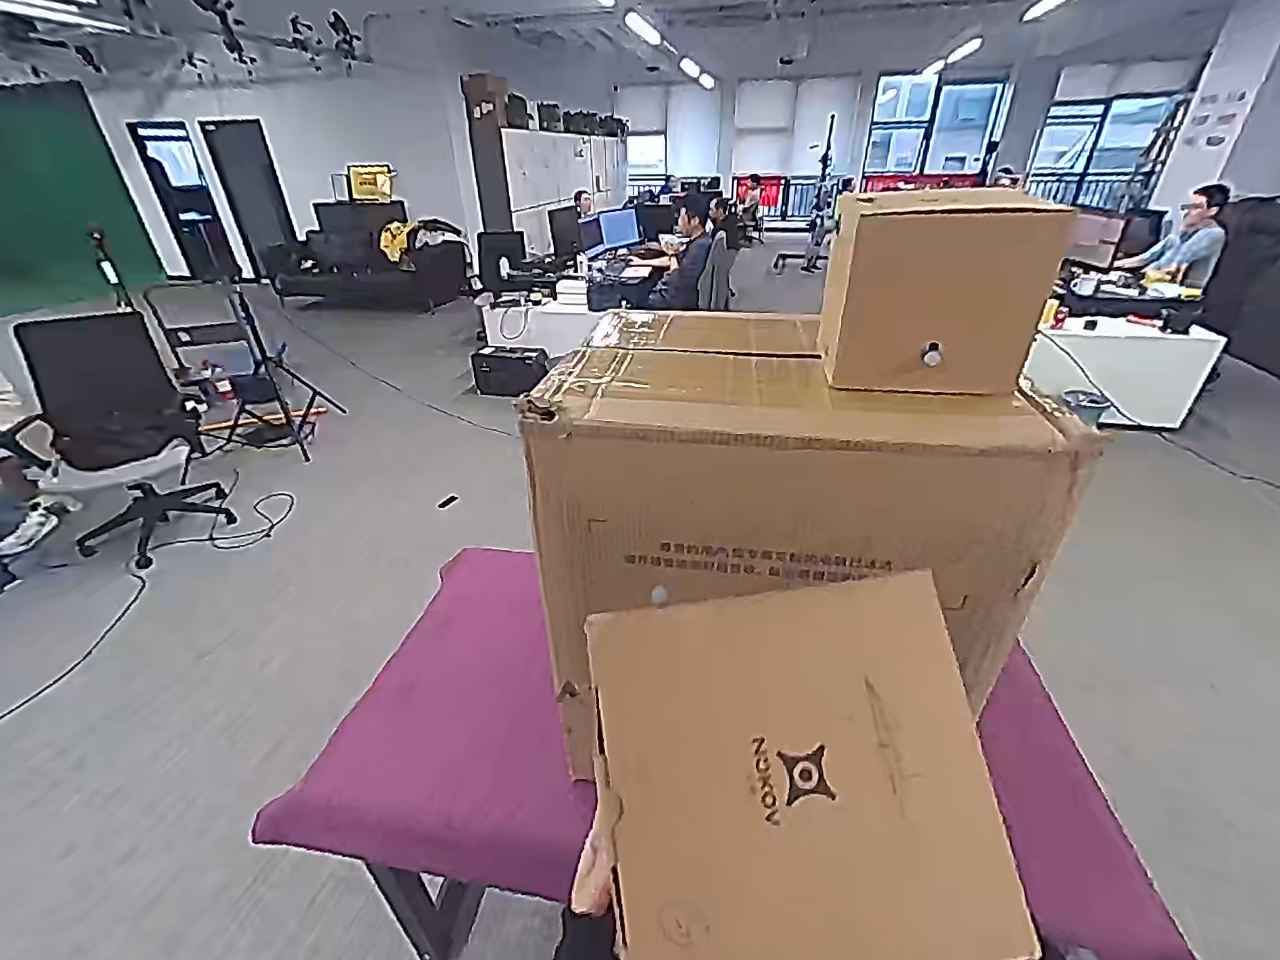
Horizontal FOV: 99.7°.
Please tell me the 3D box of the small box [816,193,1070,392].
[{"bbox_3d":[0.294,-0.201,0.574,0.179,0.176,0.168,4,32,10],"label":"small box"}]
